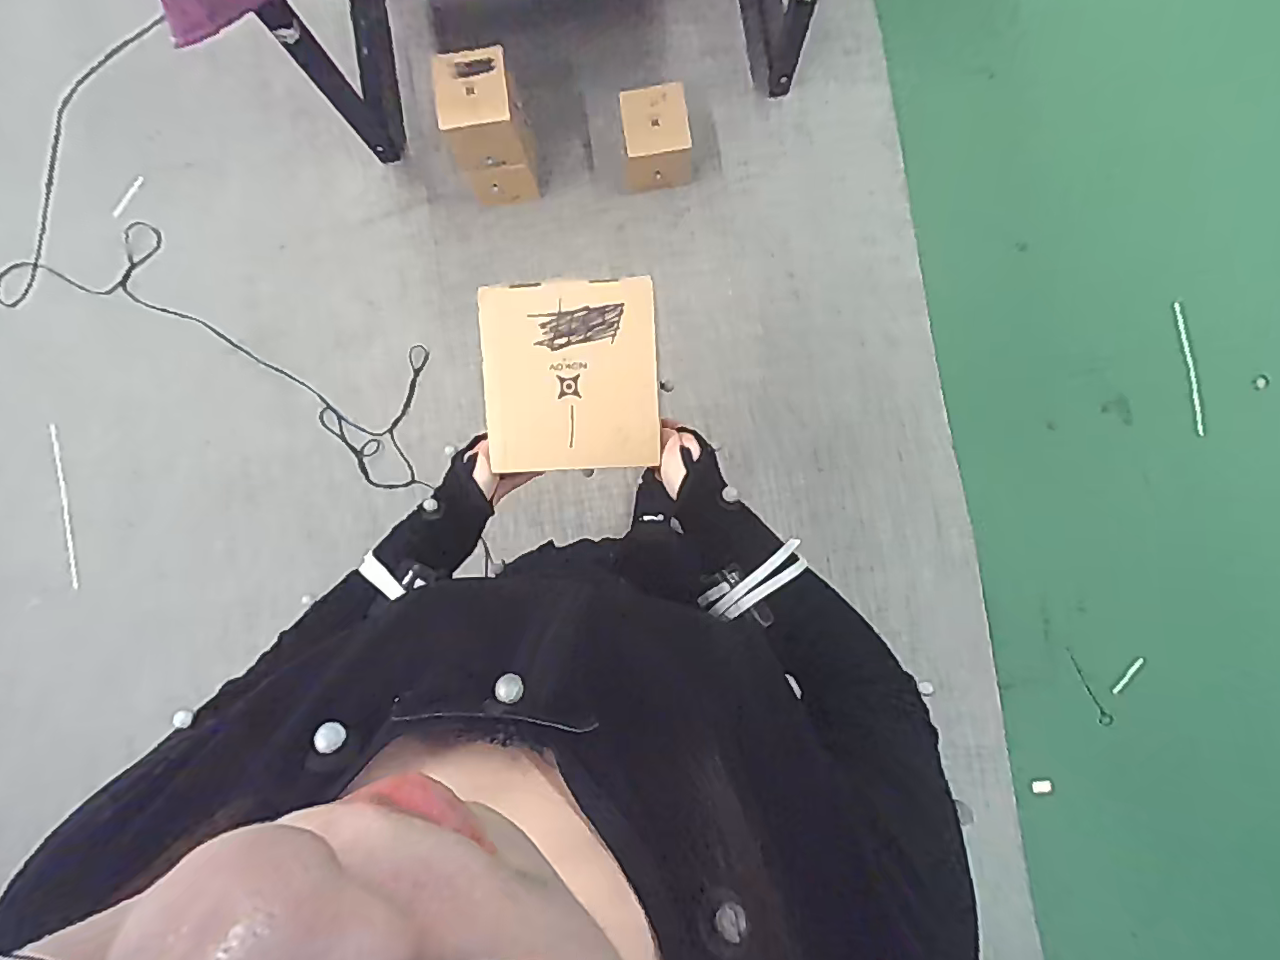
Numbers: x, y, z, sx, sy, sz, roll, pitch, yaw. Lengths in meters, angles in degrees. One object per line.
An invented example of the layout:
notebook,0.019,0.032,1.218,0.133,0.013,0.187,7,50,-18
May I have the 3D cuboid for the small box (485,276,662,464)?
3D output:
small box,-0.061,-0.112,0.596,0.168,0.176,0.179,-1,98,4
